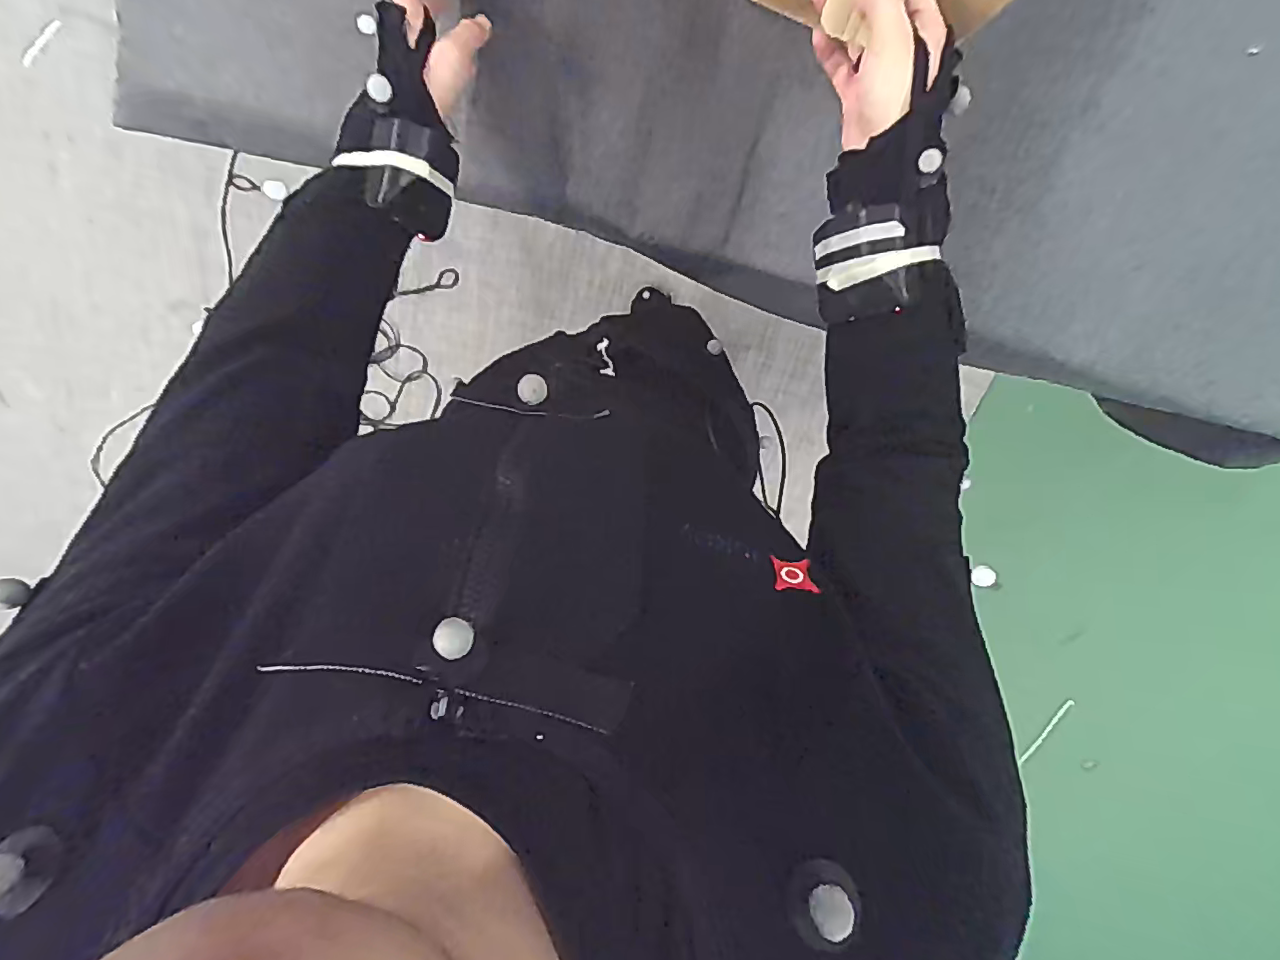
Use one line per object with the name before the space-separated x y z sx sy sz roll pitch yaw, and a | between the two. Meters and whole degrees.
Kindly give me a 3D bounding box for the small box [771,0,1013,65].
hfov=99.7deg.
small box | 0.181 -0.405 0.327 0.168 0.176 0.179 22 113 -4
